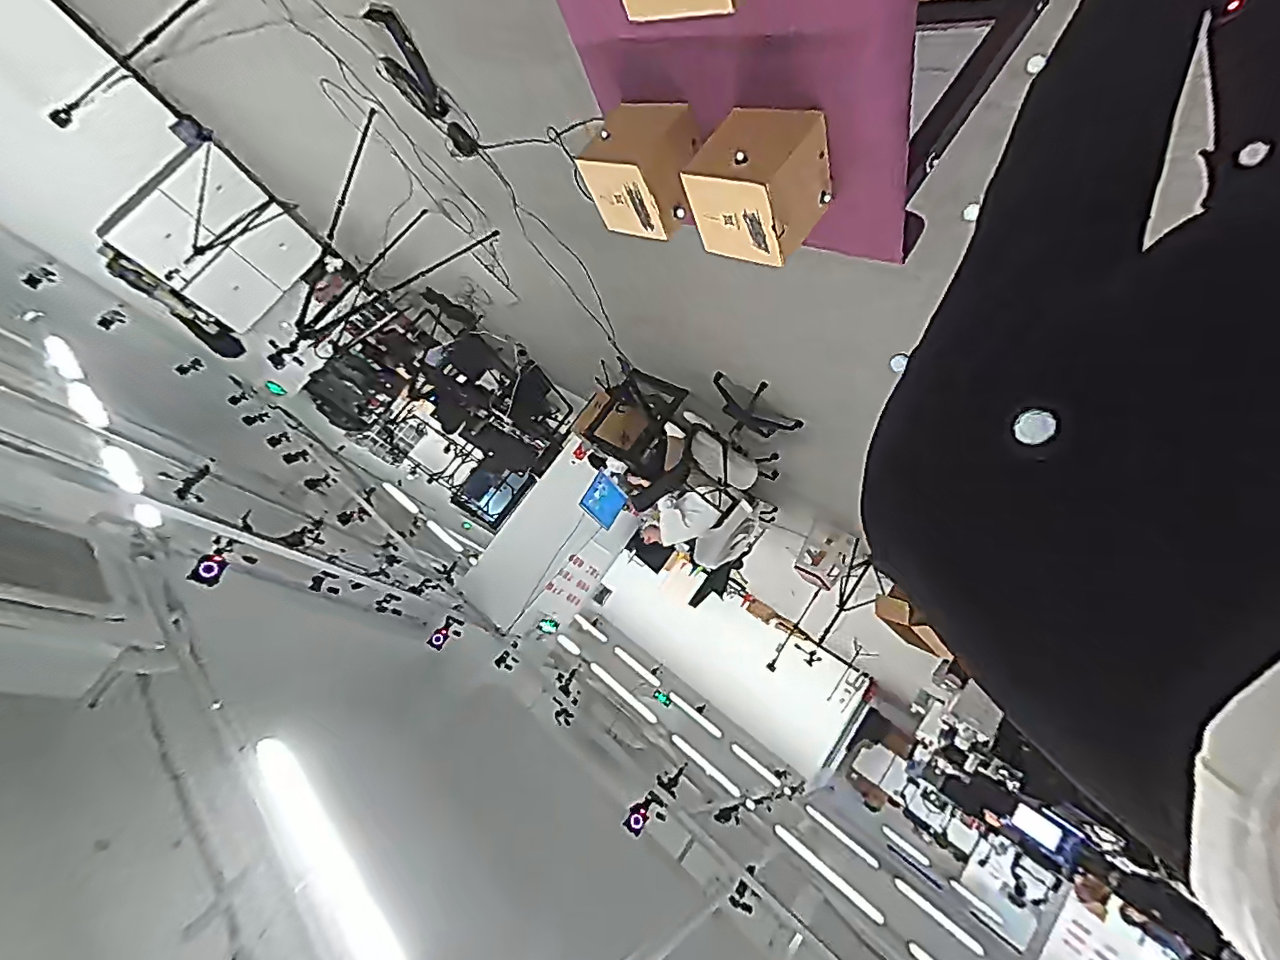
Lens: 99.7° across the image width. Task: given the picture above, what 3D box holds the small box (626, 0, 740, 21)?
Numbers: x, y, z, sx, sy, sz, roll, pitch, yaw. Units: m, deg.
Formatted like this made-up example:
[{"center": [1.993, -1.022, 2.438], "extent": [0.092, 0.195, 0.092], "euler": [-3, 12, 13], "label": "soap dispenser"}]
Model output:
[{"center": [0.070, -0.682, 0.628], "extent": [0.179, 0.176, 0.168], "euler": [30, 169, 34], "label": "small box"}]

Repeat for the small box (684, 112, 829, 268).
[{"center": [0.212, -0.505, 0.939], "extent": [0.179, 0.176, 0.168], "euler": [31, 168, 35], "label": "small box"}]
